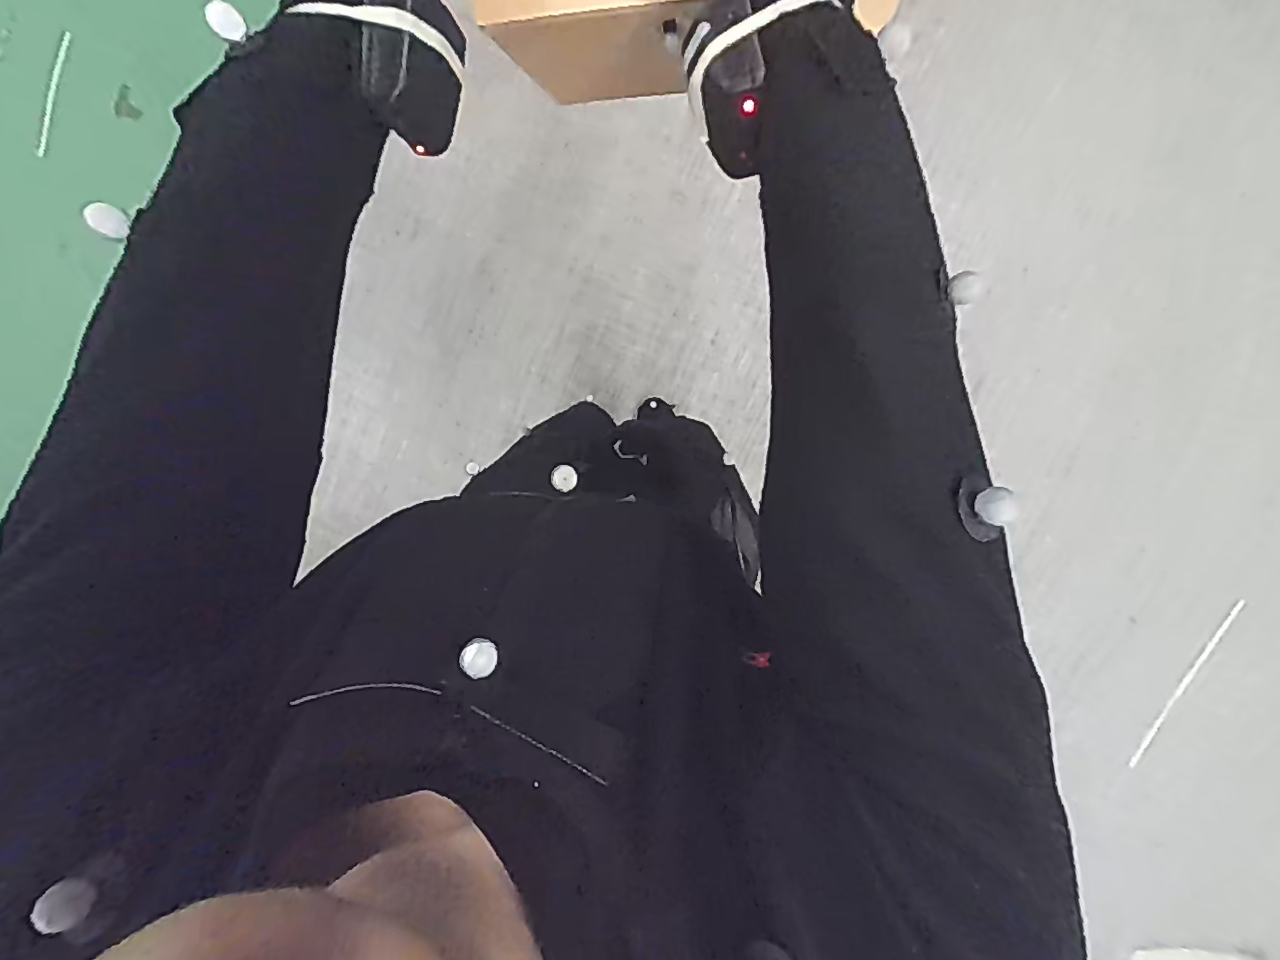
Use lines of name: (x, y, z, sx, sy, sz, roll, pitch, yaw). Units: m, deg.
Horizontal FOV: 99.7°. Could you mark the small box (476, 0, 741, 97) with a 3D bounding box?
small box: (-0.013, -0.415, 0.408, 0.179, 0.176, 0.168, 2, 109, 10)
